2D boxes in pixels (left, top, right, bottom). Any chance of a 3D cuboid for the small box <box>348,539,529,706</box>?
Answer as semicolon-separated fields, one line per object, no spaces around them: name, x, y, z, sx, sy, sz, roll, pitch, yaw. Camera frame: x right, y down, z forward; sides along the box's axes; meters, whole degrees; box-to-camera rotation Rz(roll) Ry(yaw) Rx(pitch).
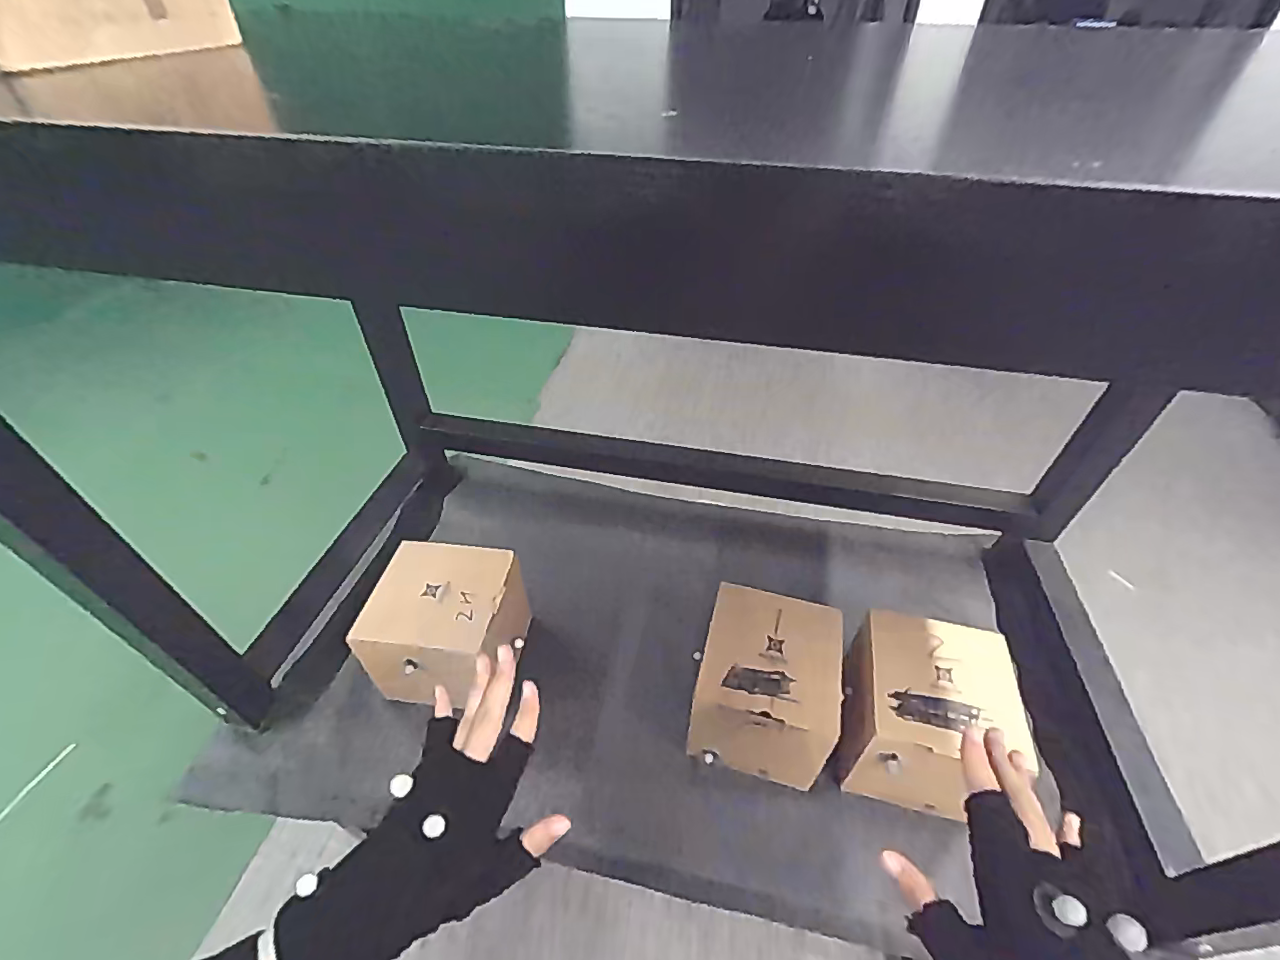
small box;-0.275;0.208;0.787;0.179;0.176;0.168;6;44;5
